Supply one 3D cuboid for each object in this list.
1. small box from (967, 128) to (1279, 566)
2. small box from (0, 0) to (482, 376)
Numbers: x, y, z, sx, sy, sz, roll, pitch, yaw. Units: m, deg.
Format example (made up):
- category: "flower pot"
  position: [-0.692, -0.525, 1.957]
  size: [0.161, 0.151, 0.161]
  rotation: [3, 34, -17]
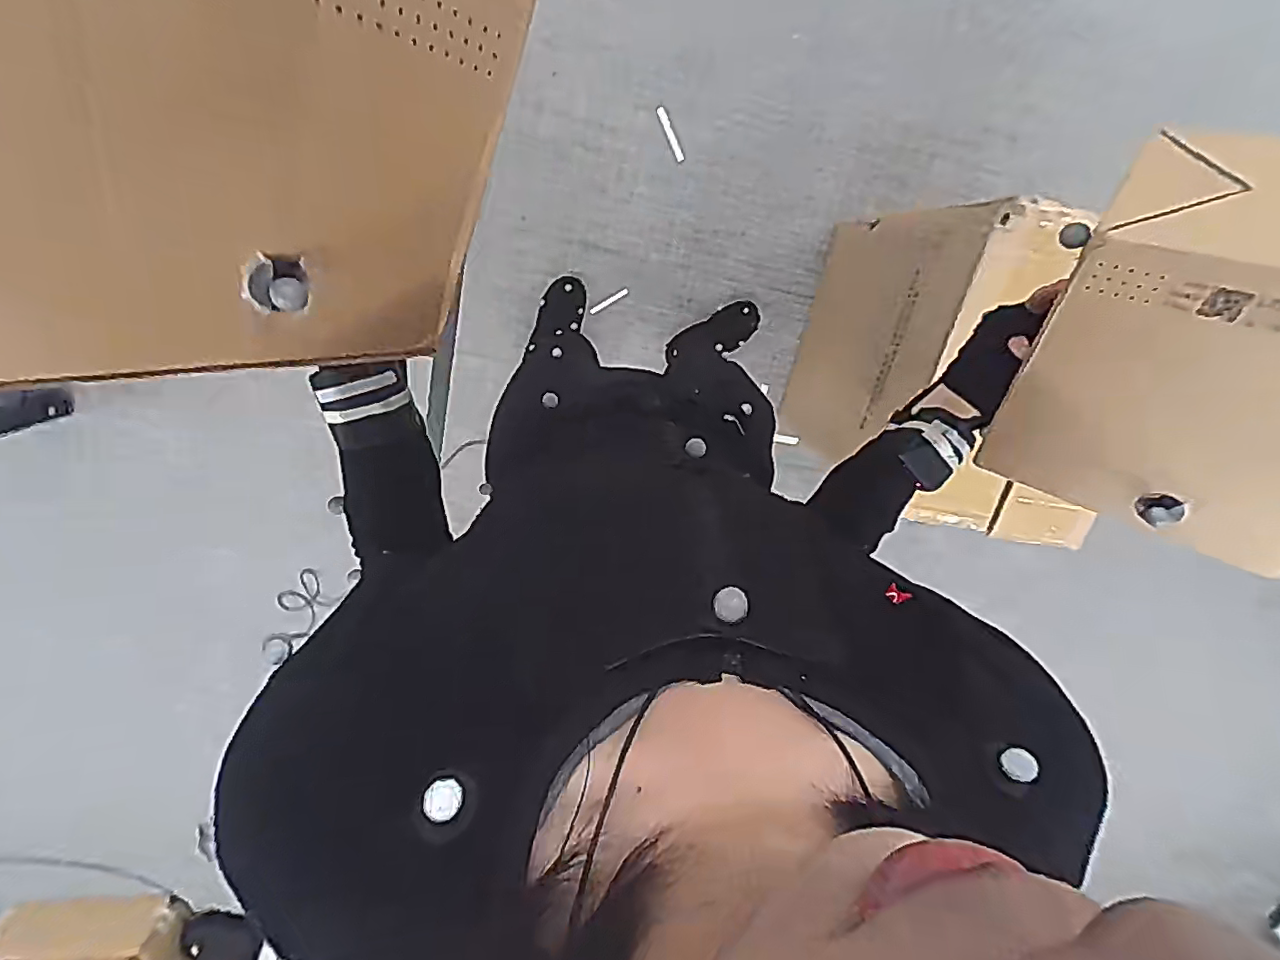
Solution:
- category: "small box"
  position: [0.335, -0.090, 0.319]
  size: [0.179, 0.168, 0.176]
  rotation: [-45, 147, -28]
- category: "small box"
  position: [-0.188, -0.162, 0.205]
  size: [0.168, 0.179, 0.176]
  rotation: [43, 125, 20]
